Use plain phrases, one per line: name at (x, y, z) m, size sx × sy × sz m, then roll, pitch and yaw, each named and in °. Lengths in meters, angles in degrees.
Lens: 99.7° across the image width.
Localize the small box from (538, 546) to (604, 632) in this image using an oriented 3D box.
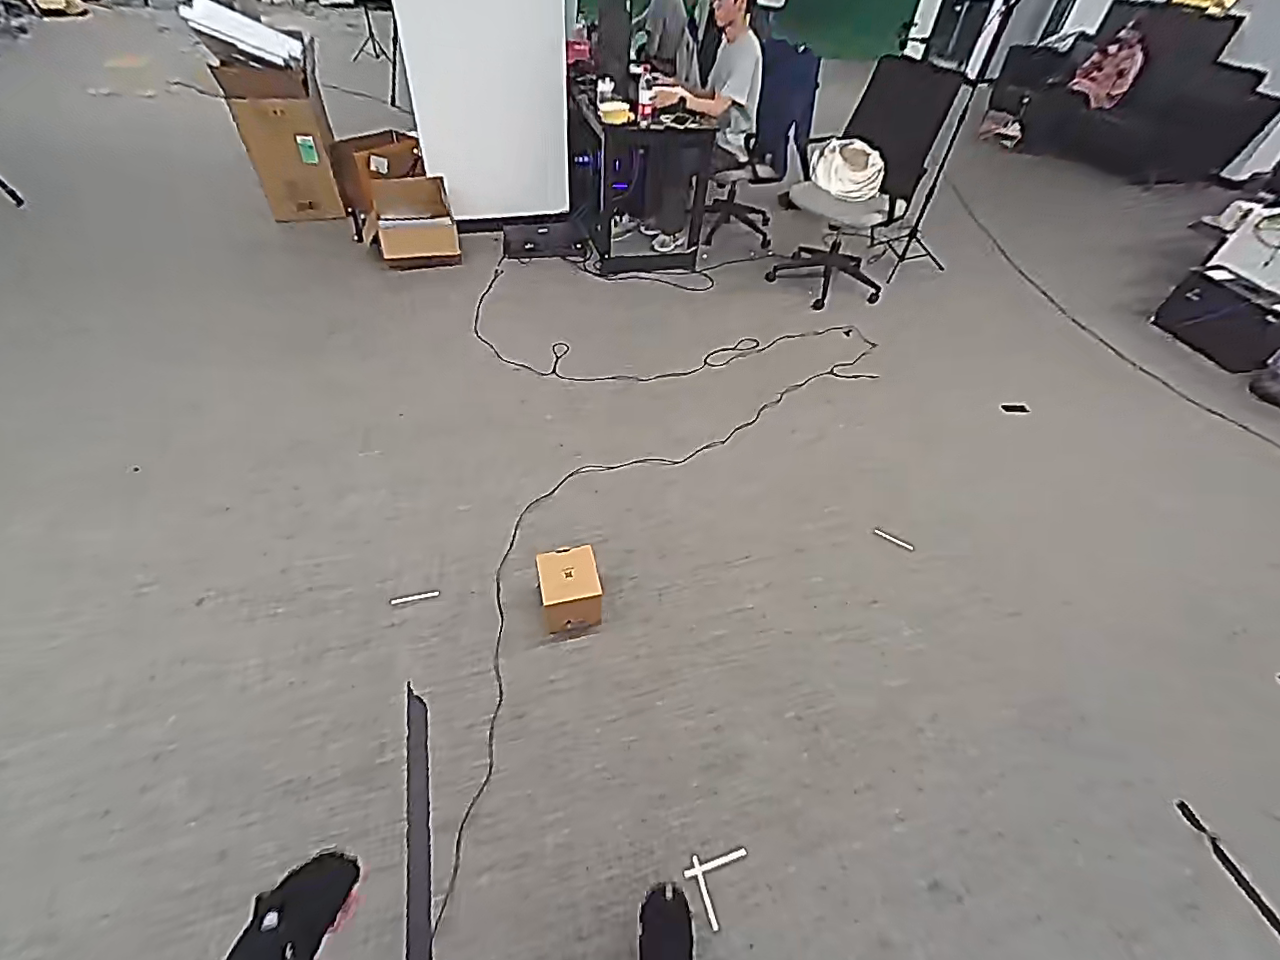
small box at (-0.206, 0.322, 1.597) m, size 0.168 × 0.176 × 0.179 m, roll -9°, pitch 50°, yaw -12°
